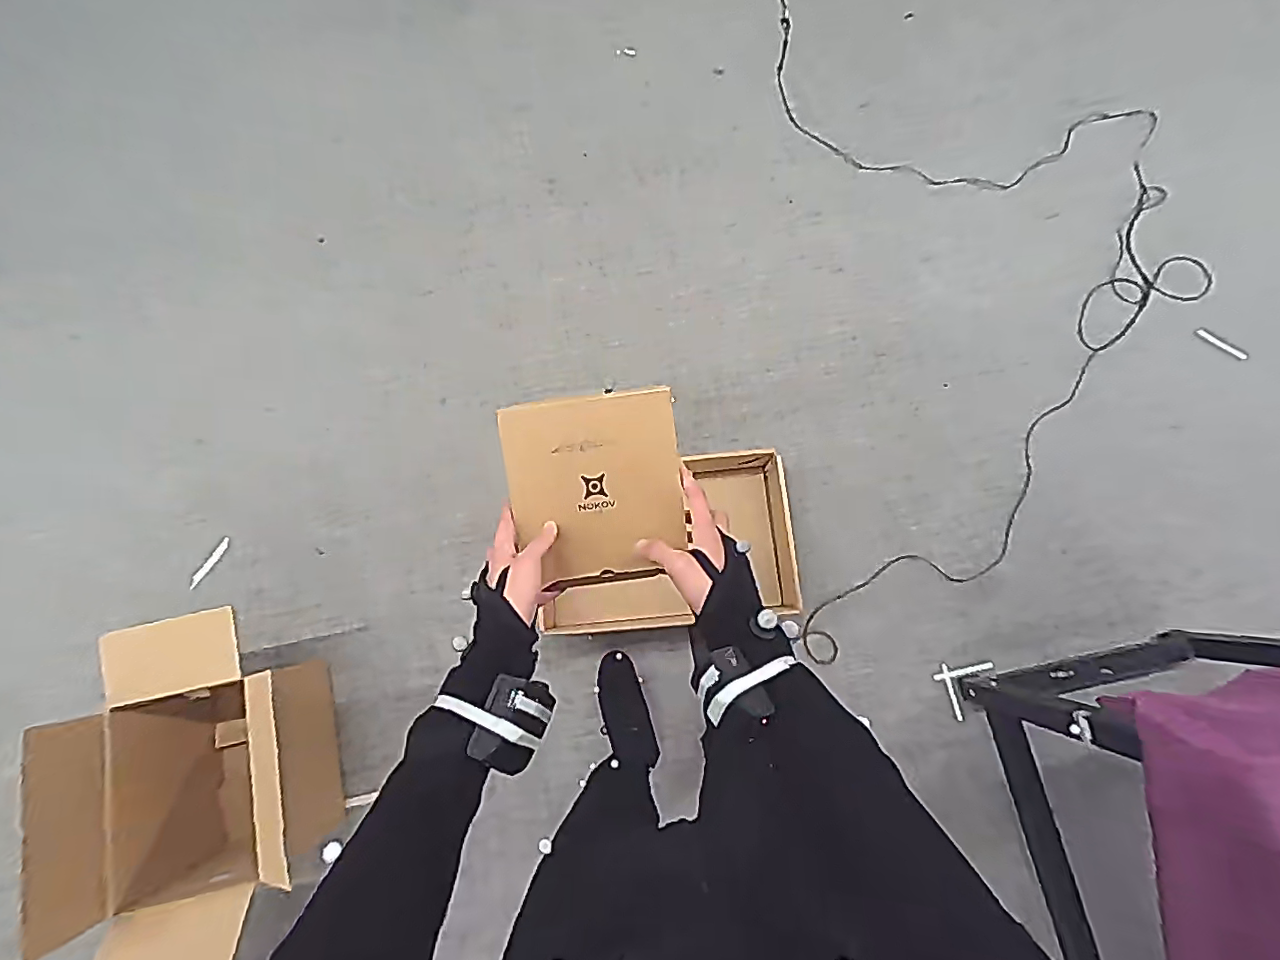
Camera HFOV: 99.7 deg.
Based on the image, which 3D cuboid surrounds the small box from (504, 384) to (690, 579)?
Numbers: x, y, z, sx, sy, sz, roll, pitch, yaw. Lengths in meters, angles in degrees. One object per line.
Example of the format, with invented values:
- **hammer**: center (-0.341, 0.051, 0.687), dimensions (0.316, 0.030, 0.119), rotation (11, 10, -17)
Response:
- **small box**: center (-0.037, -0.008, 0.595), dimensions (0.168, 0.176, 0.179), rotation (-6, 100, 2)
